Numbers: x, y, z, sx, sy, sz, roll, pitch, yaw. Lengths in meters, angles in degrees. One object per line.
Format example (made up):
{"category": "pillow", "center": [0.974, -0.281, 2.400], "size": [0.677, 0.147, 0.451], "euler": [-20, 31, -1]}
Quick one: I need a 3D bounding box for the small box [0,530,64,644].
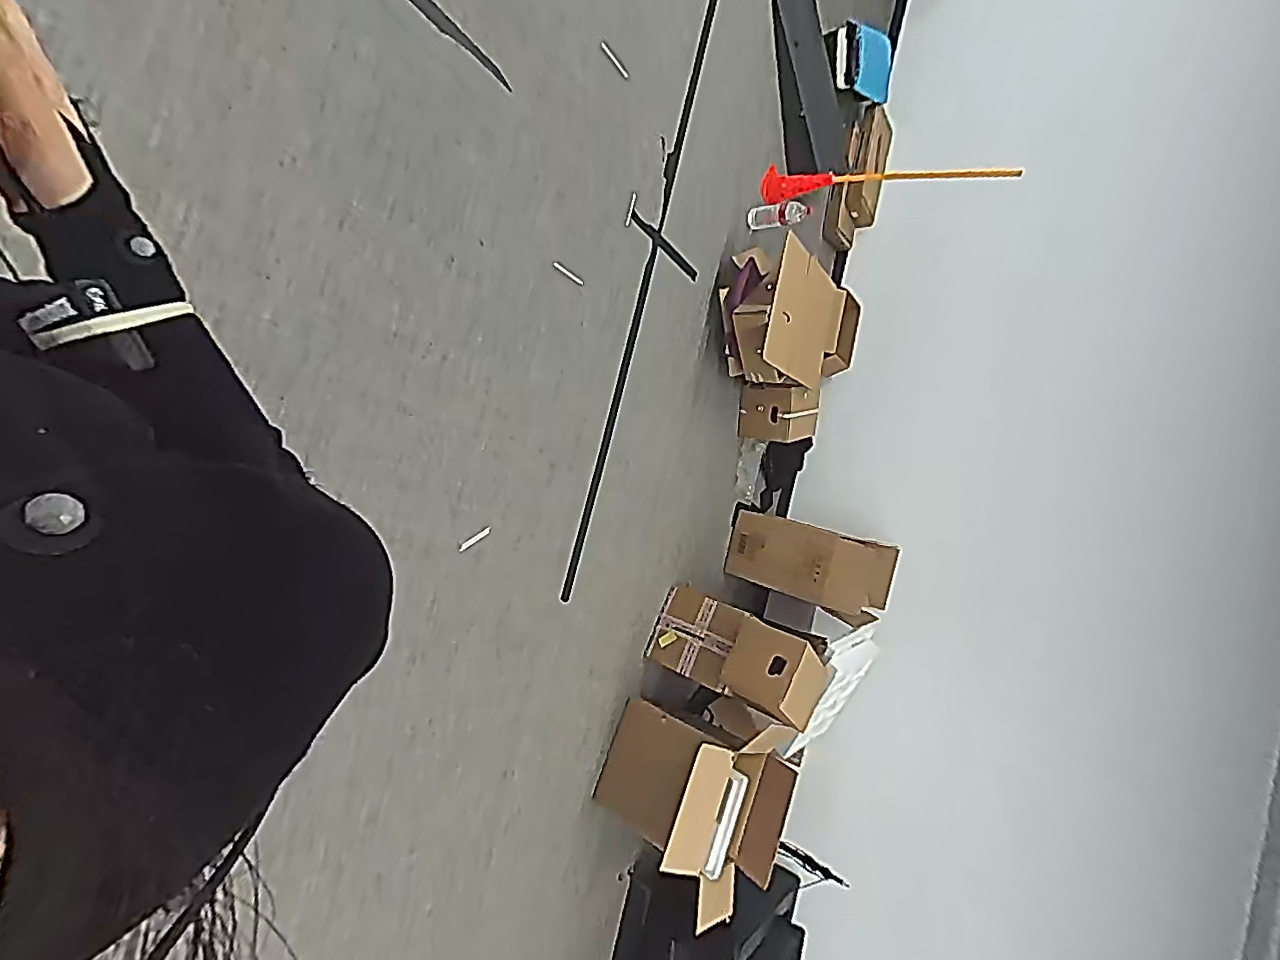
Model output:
{"category": "small box", "center": [-1.163, 0.190, 0.958], "size": [0.179, 0.176, 0.168], "euler": [-2, 101, -53]}

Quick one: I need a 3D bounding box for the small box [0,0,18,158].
{"category": "small box", "center": [-0.404, -0.240, 0.218], "size": [0.168, 0.176, 0.179], "euler": [-18, 91, -54]}
